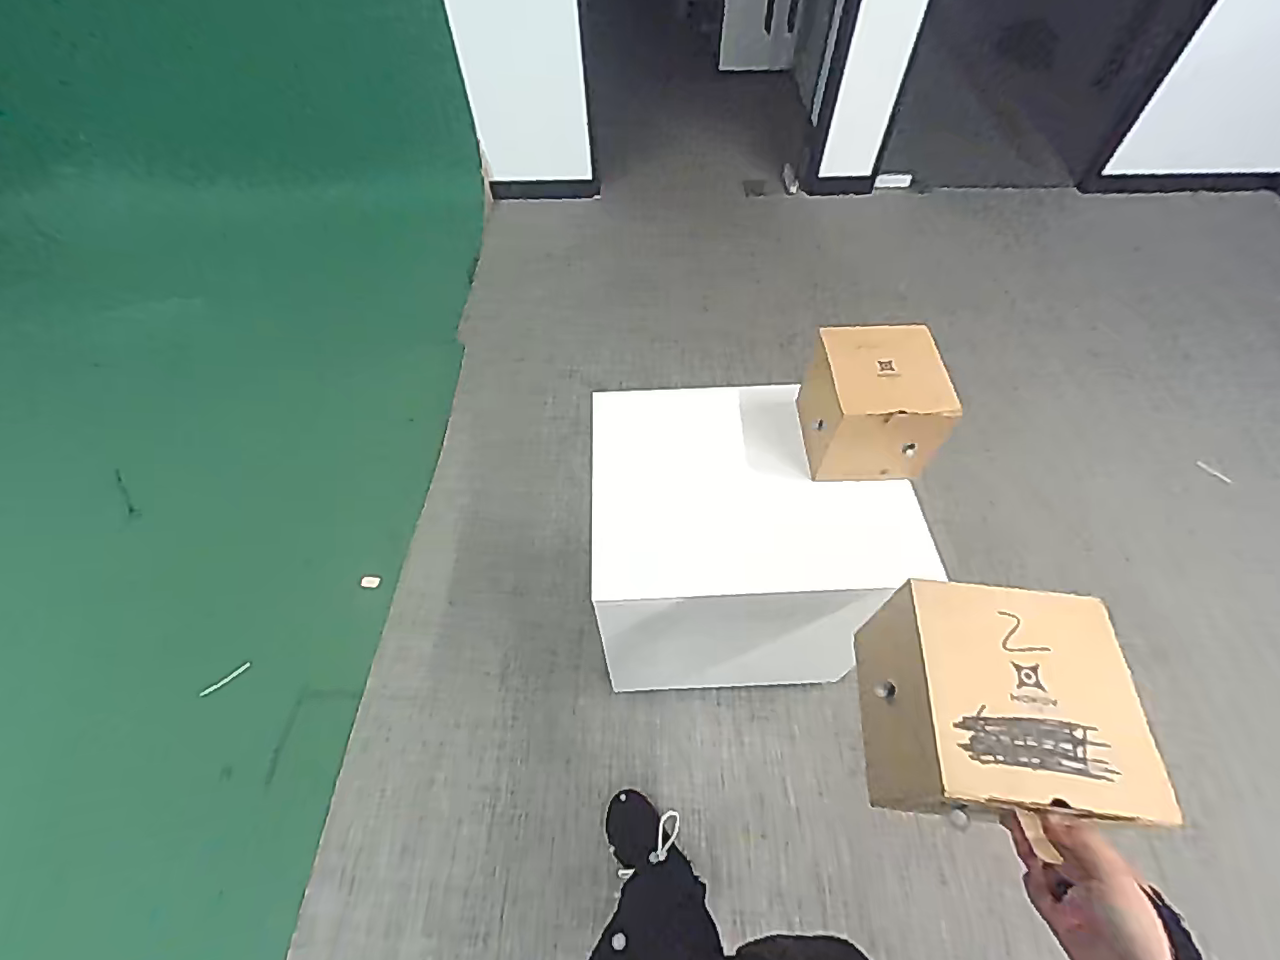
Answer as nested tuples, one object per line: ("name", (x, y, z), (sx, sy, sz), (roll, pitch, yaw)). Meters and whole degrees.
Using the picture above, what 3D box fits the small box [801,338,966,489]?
("small box", (0.360, -0.097, 0.838), (0.168, 0.176, 0.179), (-1, 55, 1))
